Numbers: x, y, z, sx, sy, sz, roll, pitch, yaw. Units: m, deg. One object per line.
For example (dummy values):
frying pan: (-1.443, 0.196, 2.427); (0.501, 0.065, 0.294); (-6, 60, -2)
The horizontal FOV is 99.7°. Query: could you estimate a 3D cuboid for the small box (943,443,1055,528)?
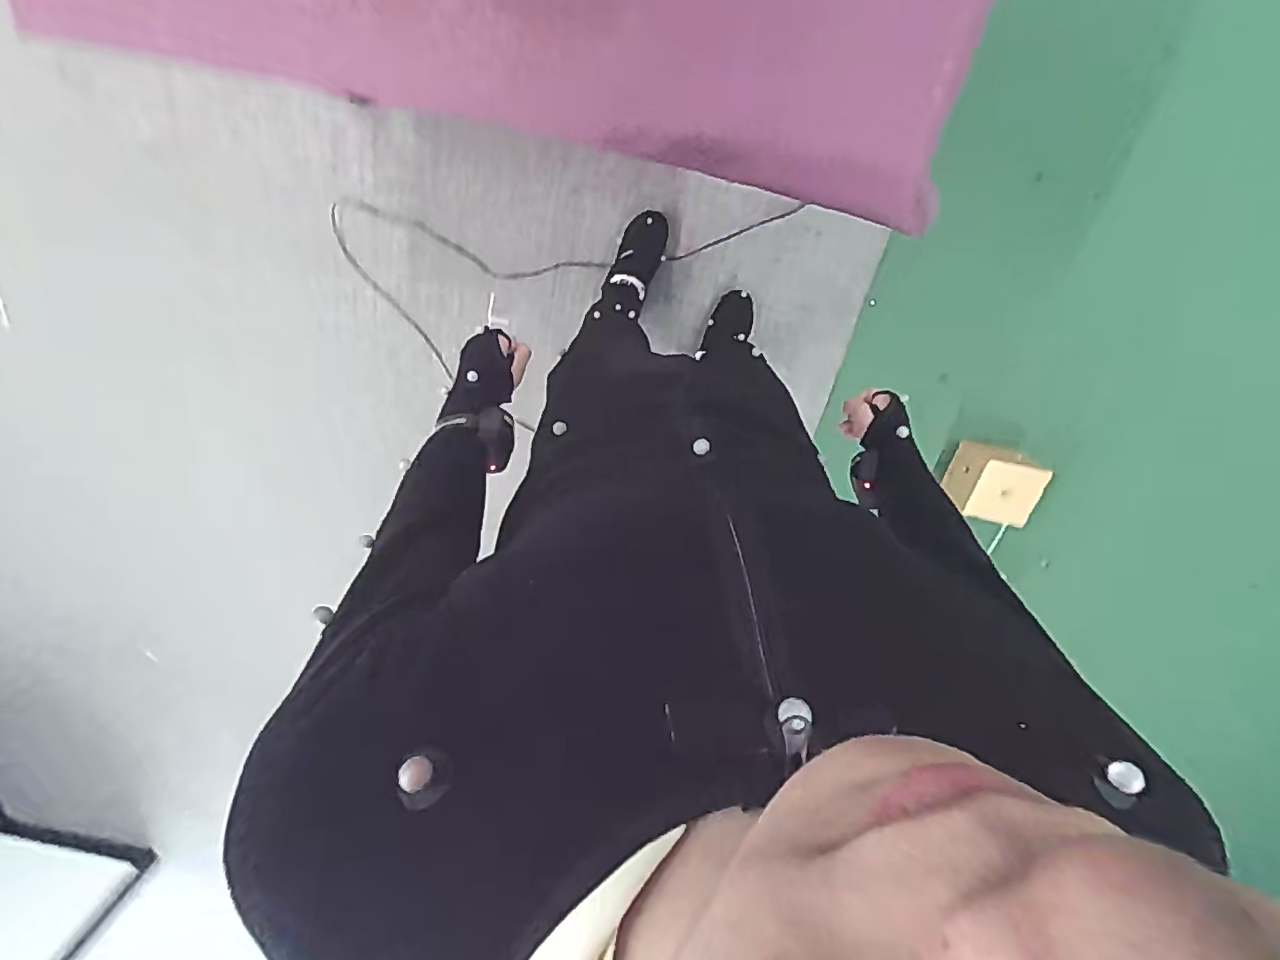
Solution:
small box: (0.988, 0.008, 1.509); (0.179, 0.176, 0.168); (12, 115, 0)
